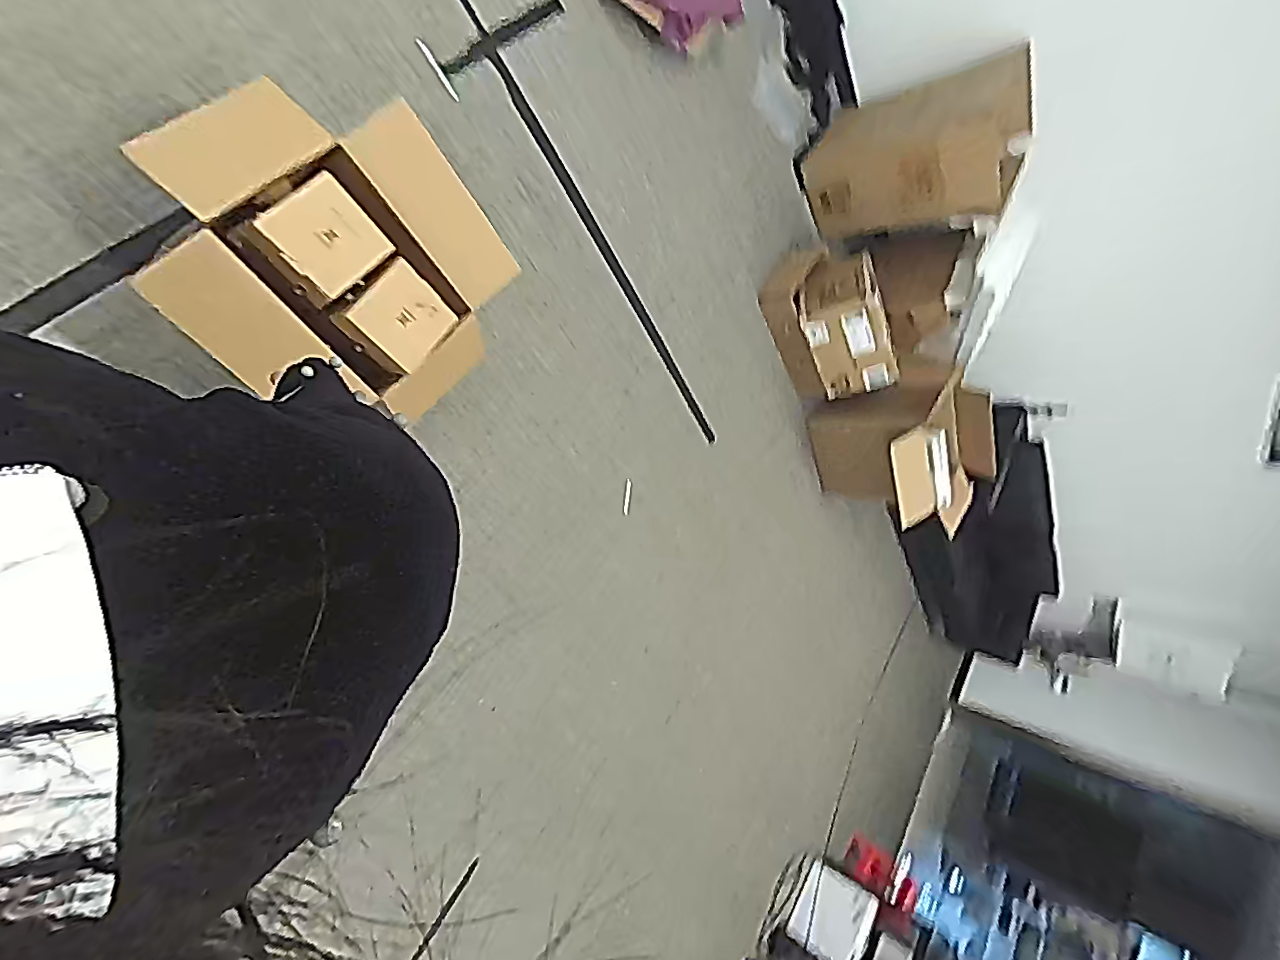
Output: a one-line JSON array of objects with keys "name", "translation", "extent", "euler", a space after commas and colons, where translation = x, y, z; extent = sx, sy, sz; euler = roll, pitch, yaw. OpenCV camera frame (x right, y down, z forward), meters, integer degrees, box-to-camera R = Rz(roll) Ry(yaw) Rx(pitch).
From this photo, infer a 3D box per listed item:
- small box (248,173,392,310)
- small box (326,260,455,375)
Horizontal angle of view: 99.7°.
[{"name": "small box", "translation": [-0.641, -0.463, 1.076], "extent": [0.168, 0.176, 0.179], "euler": [51, 61, -34]}, {"name": "small box", "translation": [-0.551, -0.350, 1.183], "extent": [0.179, 0.176, 0.168], "euler": [-58, 135, -20]}]
